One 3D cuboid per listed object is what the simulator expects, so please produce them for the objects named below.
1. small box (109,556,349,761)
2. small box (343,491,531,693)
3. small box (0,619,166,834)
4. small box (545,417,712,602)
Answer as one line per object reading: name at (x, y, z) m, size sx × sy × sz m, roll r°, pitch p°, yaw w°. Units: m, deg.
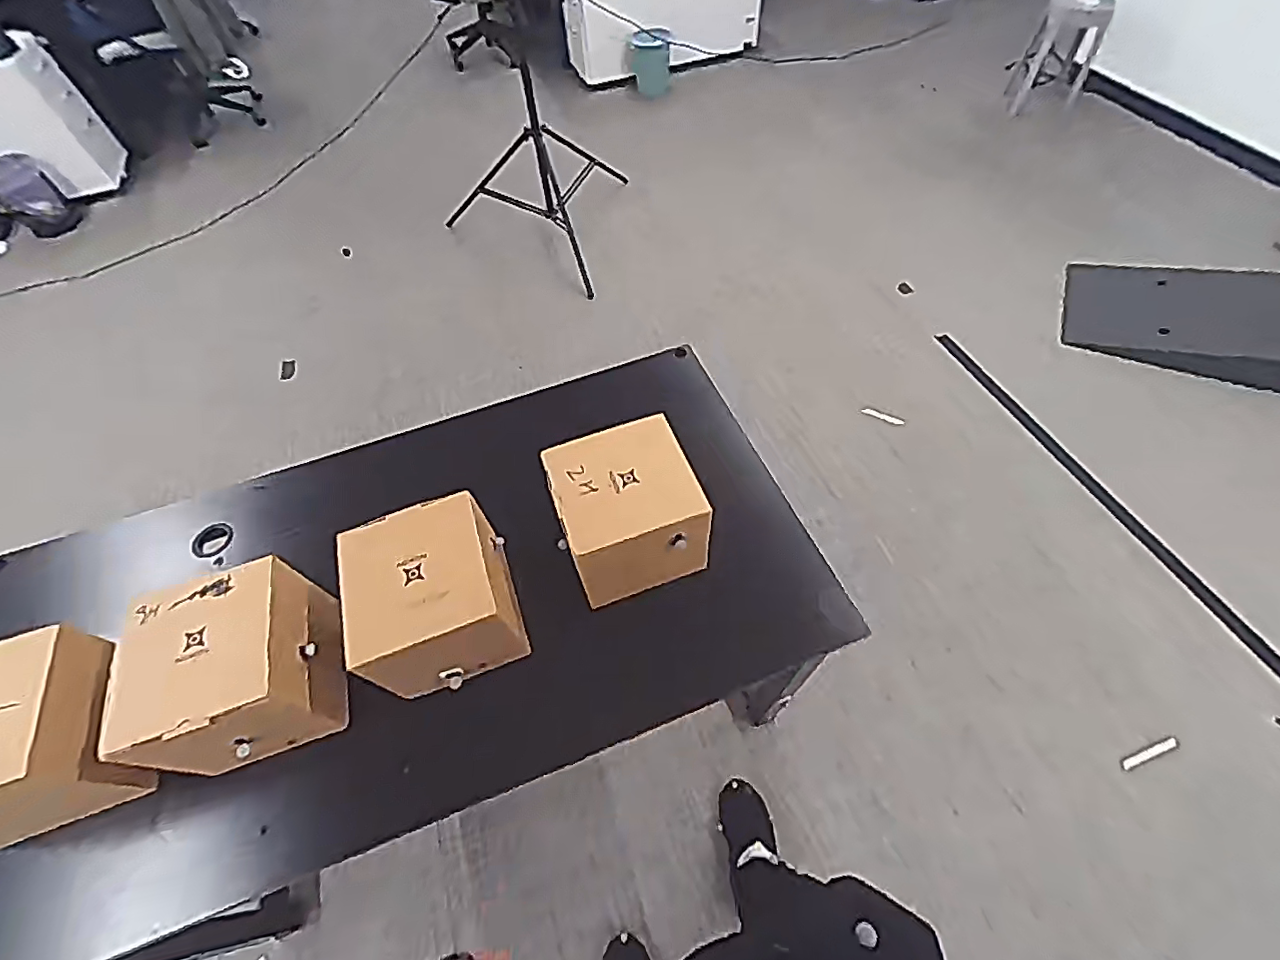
small box at (-0.477, 0.224, 0.659) m, size 0.168 × 0.176 × 0.179 m, roll -18°, pitch 58°, yaw -10°
small box at (-0.254, 0.148, 0.697) m, size 0.168 × 0.176 × 0.179 m, roll -20°, pitch 59°, yaw -8°
small box at (-0.697, 0.290, 0.627) m, size 0.179 × 0.176 × 0.168 m, roll -18°, pitch 58°, yaw -9°
small box at (-0.016, 0.045, 0.746) m, size 0.179 × 0.176 × 0.168 m, roll -18°, pitch 57°, yaw -8°
